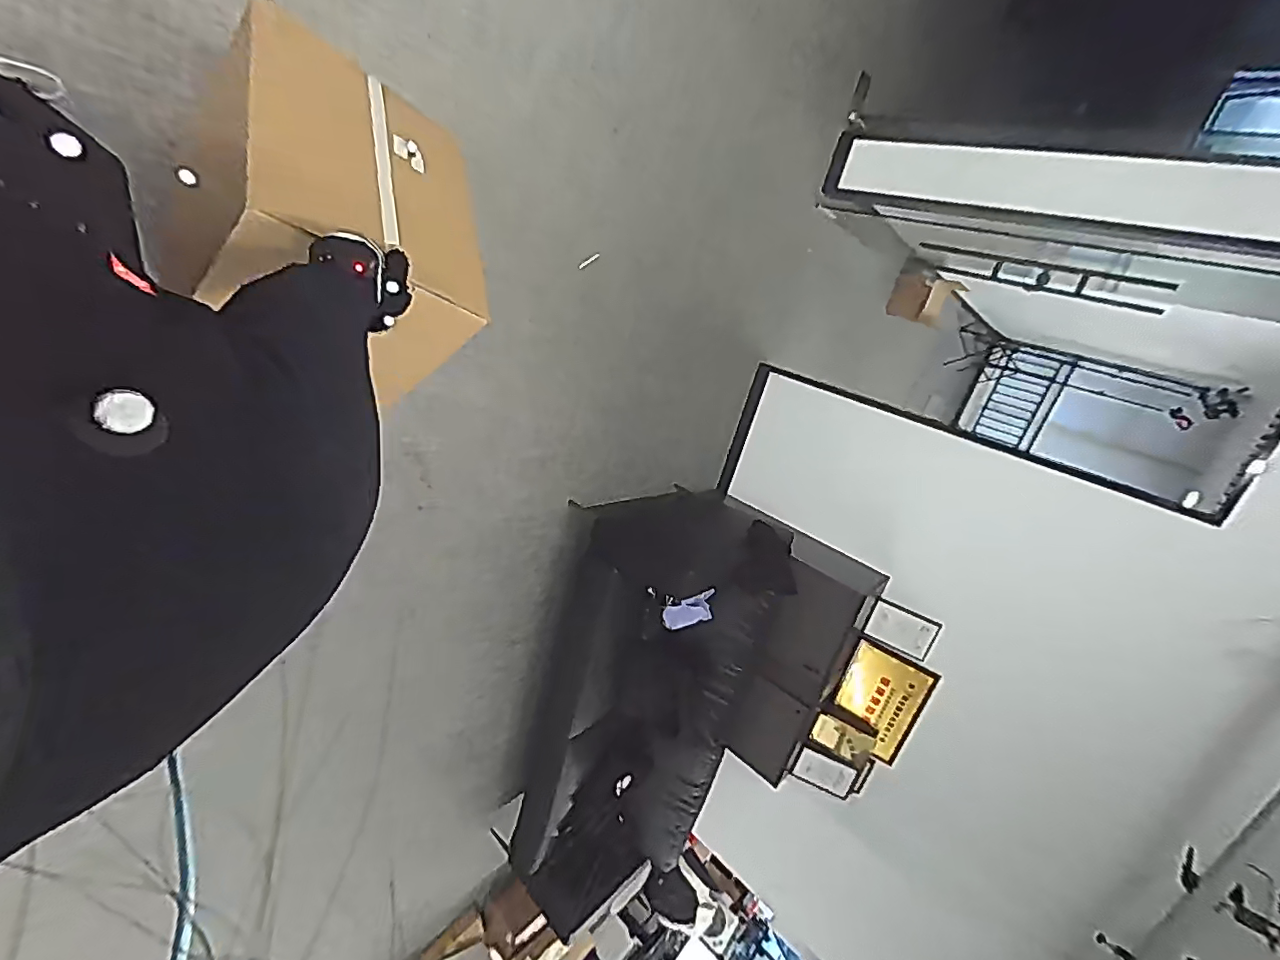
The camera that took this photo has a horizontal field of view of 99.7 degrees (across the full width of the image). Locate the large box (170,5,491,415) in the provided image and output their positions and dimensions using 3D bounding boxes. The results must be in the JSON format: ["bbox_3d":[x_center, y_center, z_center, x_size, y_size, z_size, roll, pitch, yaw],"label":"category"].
[{"bbox_3d":[-0.478,-0.368,0.835,0.320,0.408,0.320,-29,154,29],"label":"large box"}]
